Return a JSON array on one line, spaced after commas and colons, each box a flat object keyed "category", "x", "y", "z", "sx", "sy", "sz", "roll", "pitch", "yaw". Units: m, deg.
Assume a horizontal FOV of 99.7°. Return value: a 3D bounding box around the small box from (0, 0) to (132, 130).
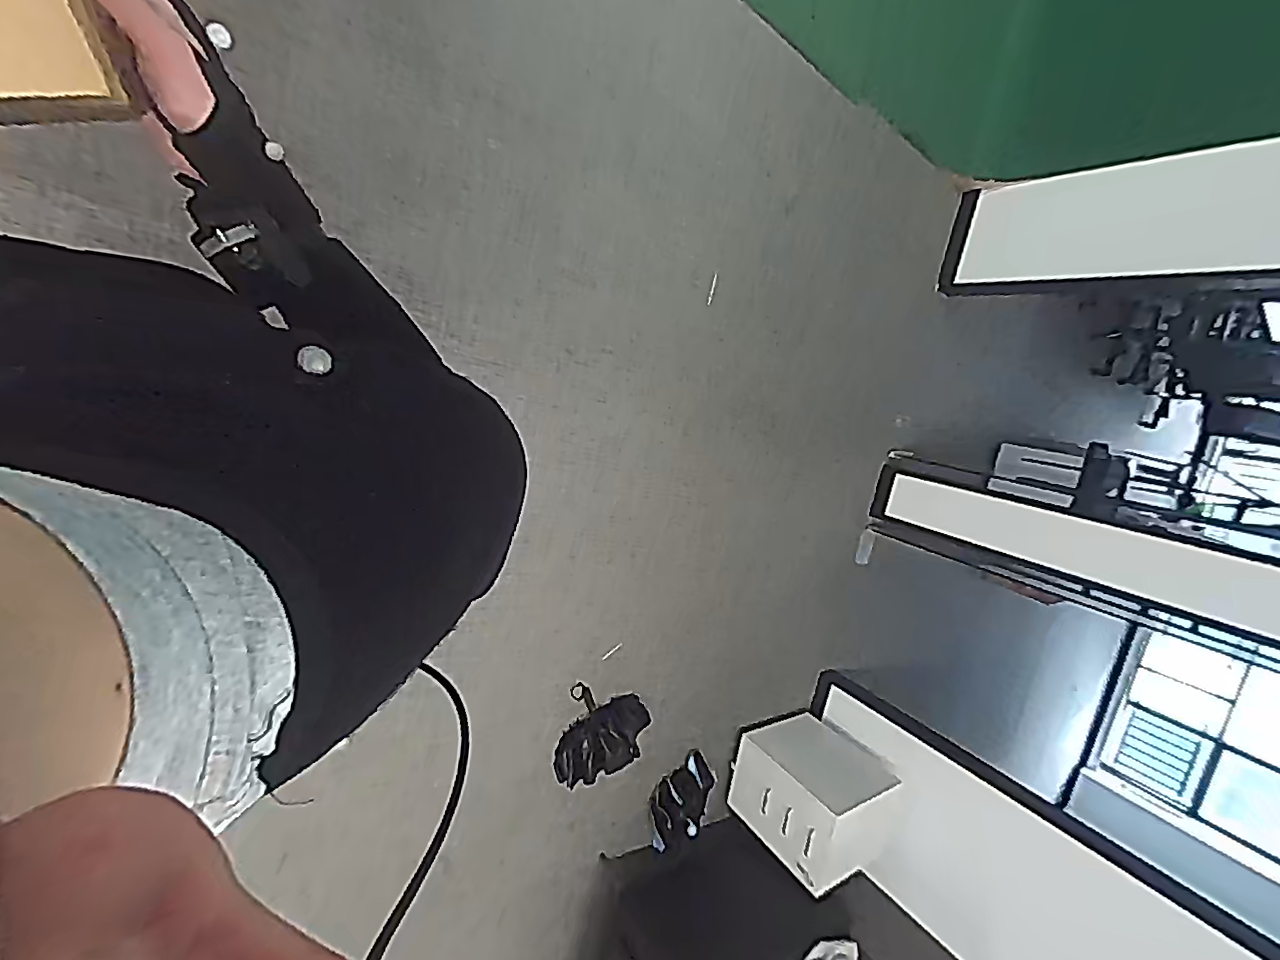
[{"category": "small box", "x": -0.382, "y": -0.268, "z": 0.247, "sx": 0.168, "sy": 0.176, "sz": 0.179, "roll": -22, "pitch": 127, "yaw": -27}]
